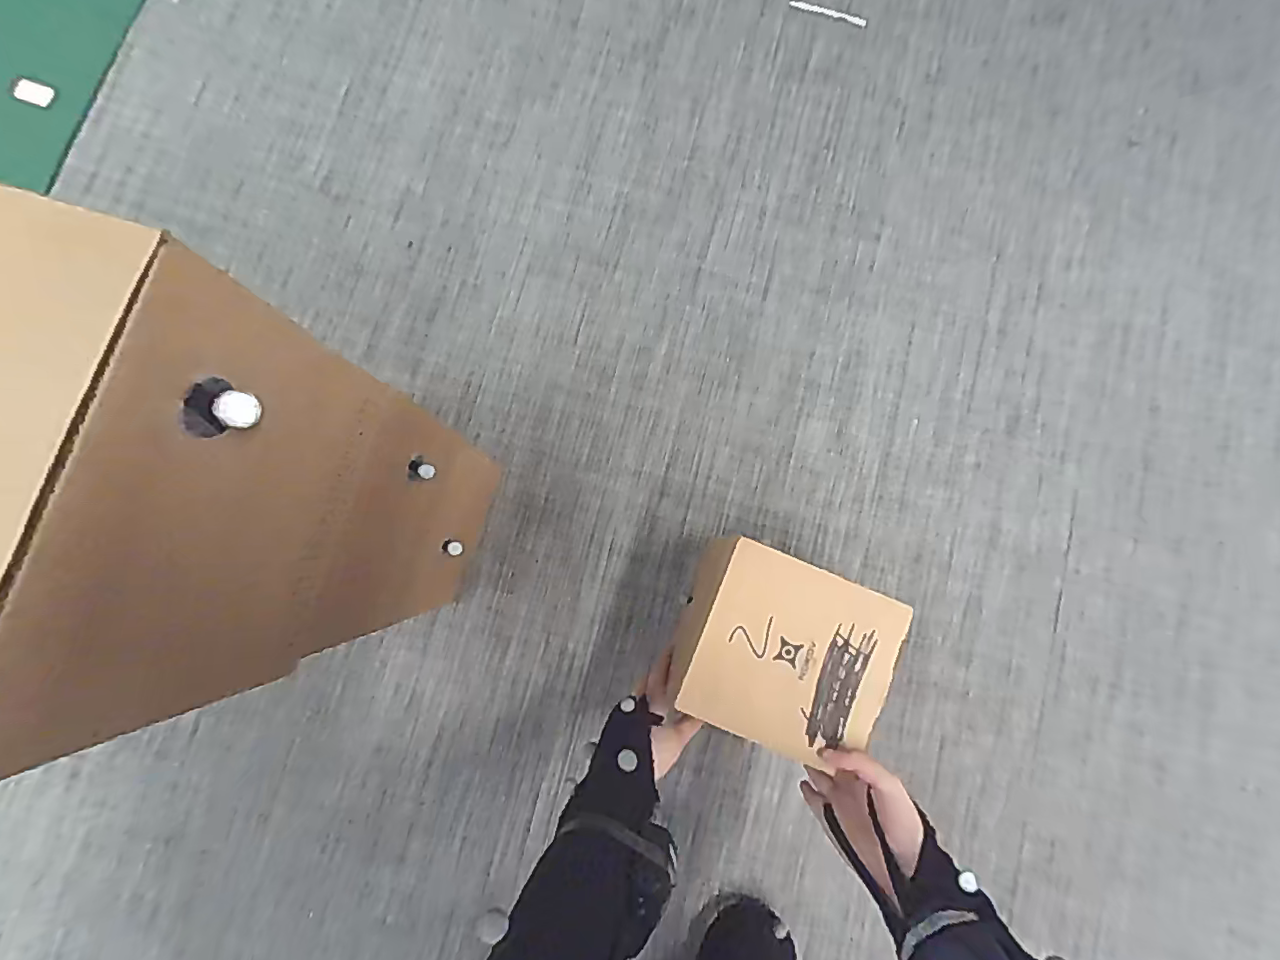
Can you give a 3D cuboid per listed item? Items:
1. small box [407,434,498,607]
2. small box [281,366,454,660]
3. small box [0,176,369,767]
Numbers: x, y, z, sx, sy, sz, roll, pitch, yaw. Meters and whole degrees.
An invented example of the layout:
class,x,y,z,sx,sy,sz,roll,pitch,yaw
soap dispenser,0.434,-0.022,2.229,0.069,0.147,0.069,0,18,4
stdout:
class,x,y,z,sx,sy,sz,roll,pitch,yaw
small box,-0.264,0.027,0.561,0.168,0.176,0.179,19,83,0
small box,-0.257,0.009,0.399,0.168,0.176,0.179,15,84,1
small box,-0.251,-0.008,0.235,0.168,0.176,0.179,16,82,2
